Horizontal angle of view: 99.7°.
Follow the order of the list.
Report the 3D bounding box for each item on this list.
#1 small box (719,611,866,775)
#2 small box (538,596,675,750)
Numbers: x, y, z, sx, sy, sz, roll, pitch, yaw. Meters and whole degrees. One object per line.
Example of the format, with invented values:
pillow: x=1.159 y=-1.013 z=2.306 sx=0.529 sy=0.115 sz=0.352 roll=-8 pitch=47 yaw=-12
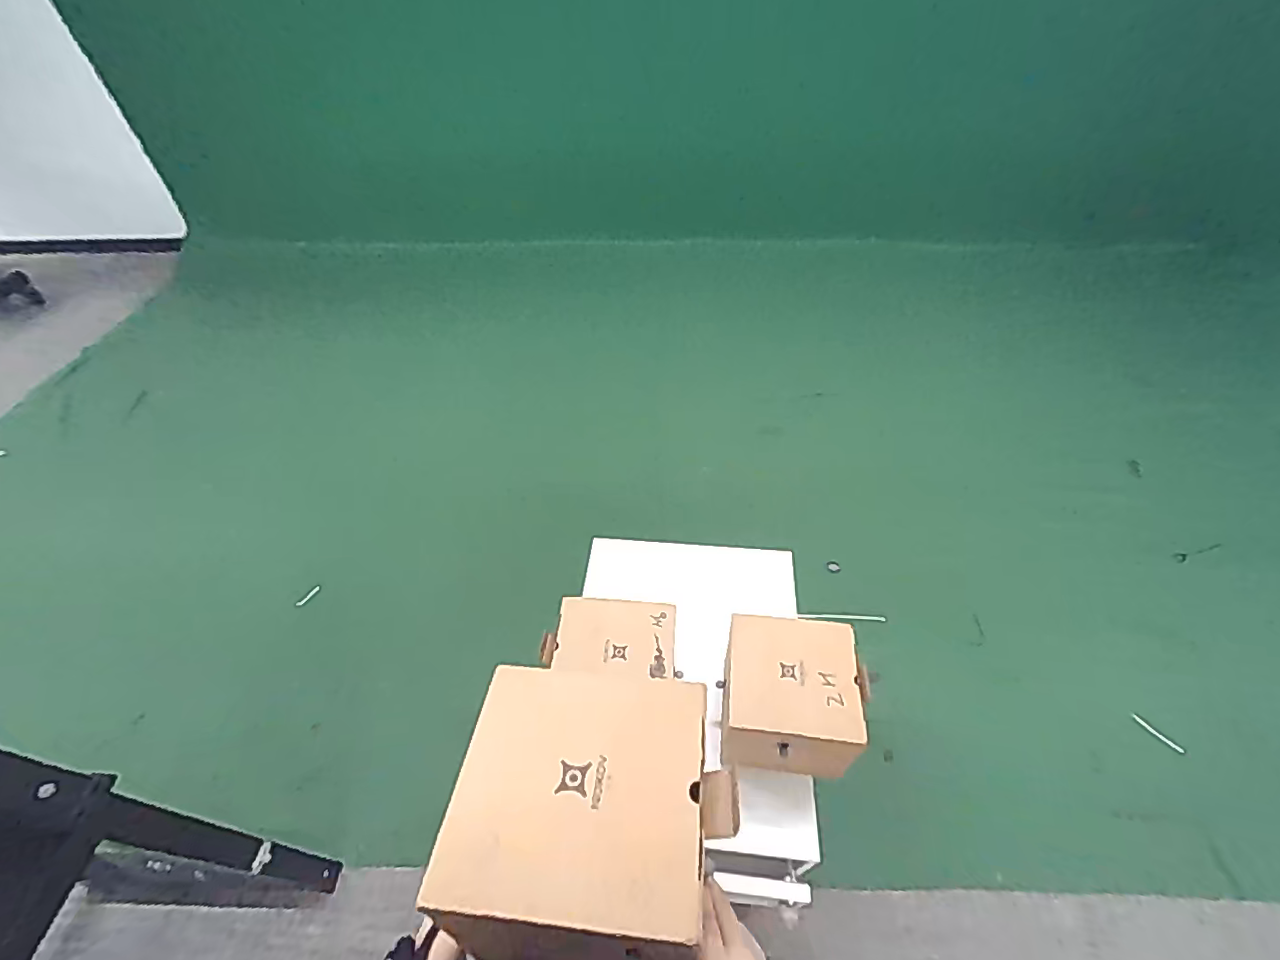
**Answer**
small box: x=0.208 y=0.311 z=0.785 sx=0.179 sy=0.176 sz=0.168 roll=5 pitch=49 yaw=6
small box: x=-0.039 y=0.292 z=0.815 sx=0.179 sy=0.176 sz=0.168 roll=3 pitch=48 yaw=4
